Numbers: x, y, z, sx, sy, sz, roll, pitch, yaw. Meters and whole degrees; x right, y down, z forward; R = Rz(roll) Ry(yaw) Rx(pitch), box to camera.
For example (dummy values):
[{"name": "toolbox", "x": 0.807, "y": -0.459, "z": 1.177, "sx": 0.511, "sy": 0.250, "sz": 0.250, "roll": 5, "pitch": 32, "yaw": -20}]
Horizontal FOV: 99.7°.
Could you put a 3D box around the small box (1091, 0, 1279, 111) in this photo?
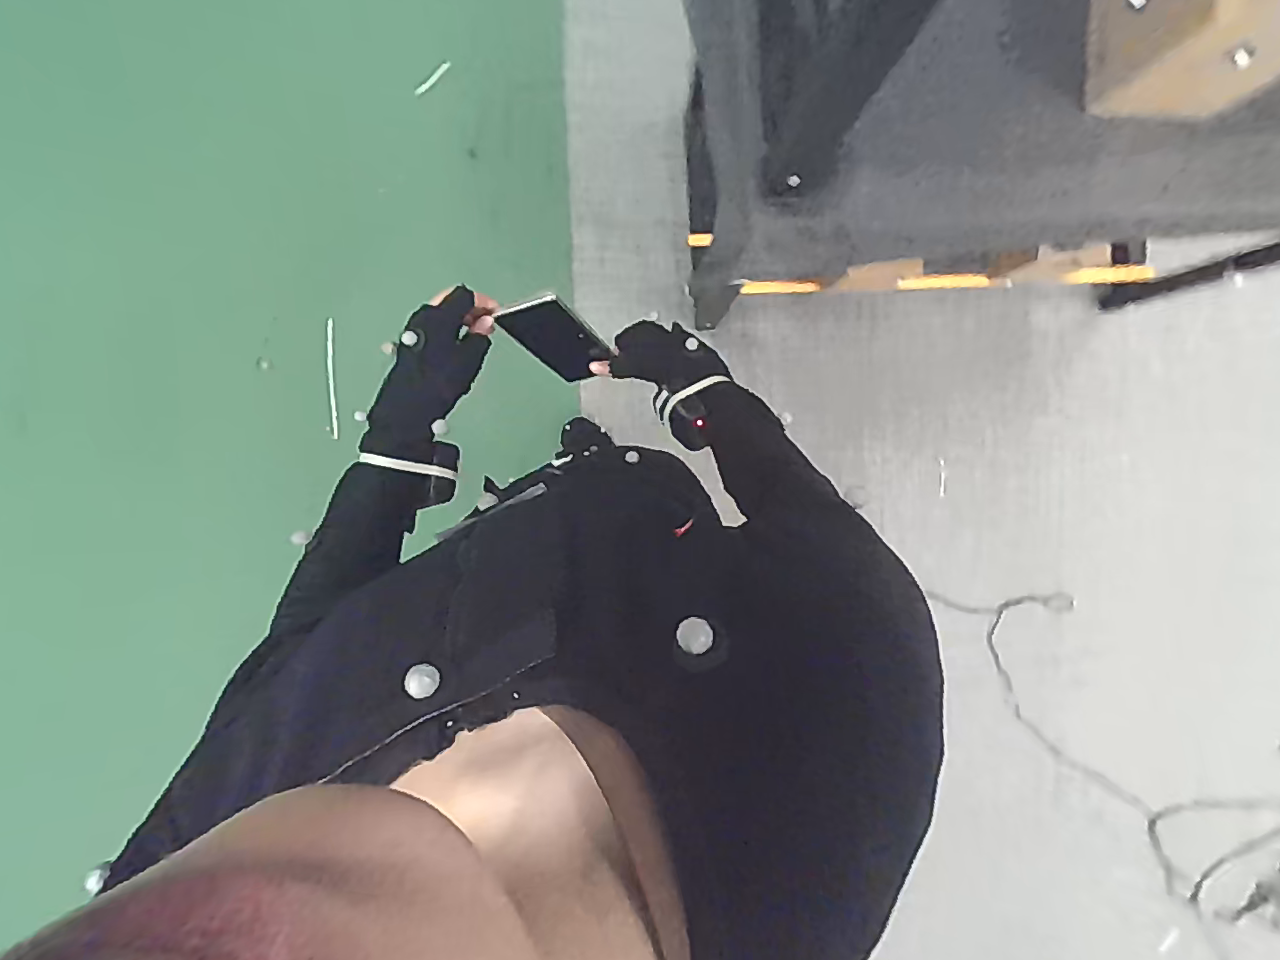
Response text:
[{"name": "small box", "x": 0.684, "y": -0.570, "z": 0.639, "sx": 0.179, "sy": 0.176, "sz": 0.168, "roll": 0, "pitch": 94, "yaw": -1}]

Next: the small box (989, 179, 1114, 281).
[{"name": "small box", "x": 0.956, "y": -0.578, "z": 1.271, "sx": 0.168, "sy": 0.176, "sz": 0.179, "roll": 0, "pitch": 94, "yaw": -2}]
